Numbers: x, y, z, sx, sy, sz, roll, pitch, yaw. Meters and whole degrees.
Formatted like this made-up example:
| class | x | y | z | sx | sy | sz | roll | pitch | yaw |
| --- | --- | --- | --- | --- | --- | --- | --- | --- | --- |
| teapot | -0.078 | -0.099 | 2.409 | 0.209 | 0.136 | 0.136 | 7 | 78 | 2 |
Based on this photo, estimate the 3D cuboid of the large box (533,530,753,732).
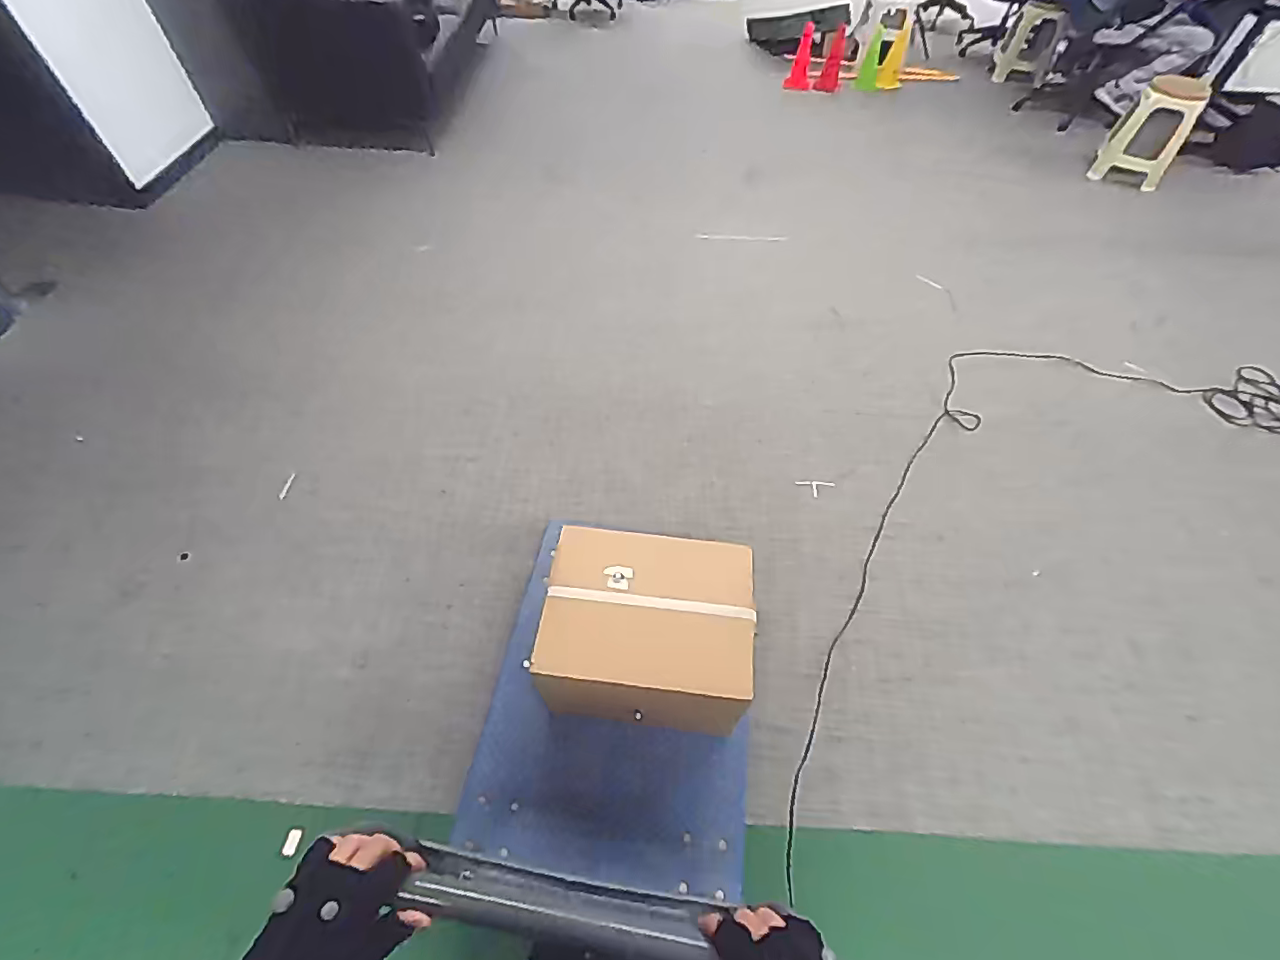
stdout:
| class | x | y | z | sx | sy | sz | roll | pitch | yaw |
| --- | --- | --- | --- | --- | --- | --- | --- | --- | --- |
| large box | 0.019 | 0.334 | 1.172 | 0.408 | 0.320 | 0.320 | 6 | 53 | 4 |
